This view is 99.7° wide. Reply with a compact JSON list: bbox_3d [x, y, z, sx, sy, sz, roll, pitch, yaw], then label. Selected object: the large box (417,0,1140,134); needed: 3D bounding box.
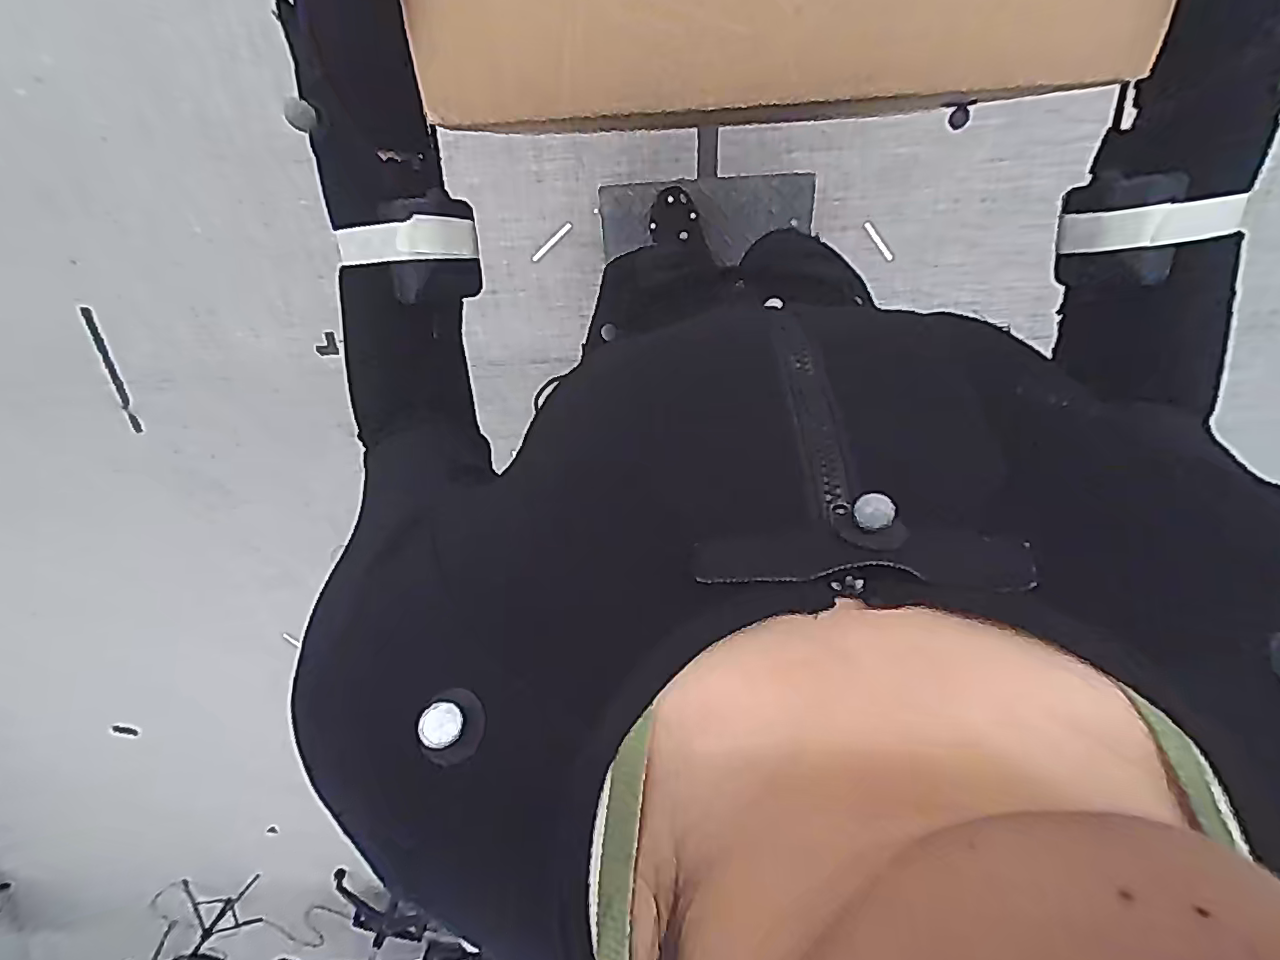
[{"bbox_3d":[0.072,-0.431,0.367,0.408,0.320,0.320,-2,121,3],"label":"large box"}]
